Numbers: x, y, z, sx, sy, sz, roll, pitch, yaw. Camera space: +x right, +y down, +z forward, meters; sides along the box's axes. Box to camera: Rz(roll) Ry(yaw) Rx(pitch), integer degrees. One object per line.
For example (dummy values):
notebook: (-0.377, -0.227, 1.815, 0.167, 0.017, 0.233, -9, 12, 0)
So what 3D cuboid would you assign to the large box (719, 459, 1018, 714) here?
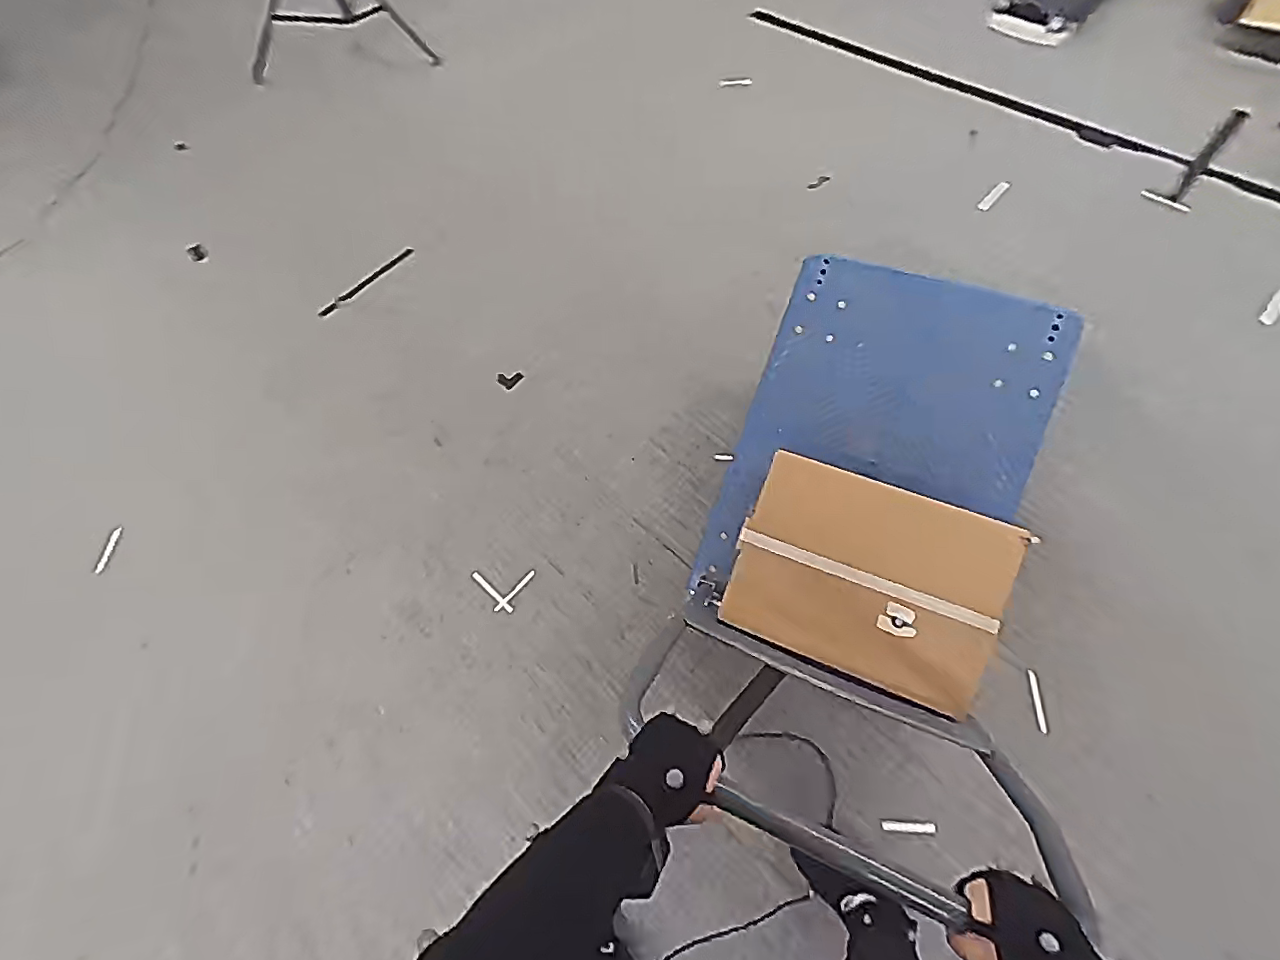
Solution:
large box: (0.397, 0.178, 1.040, 0.408, 0.320, 0.320, 20, 91, 14)
